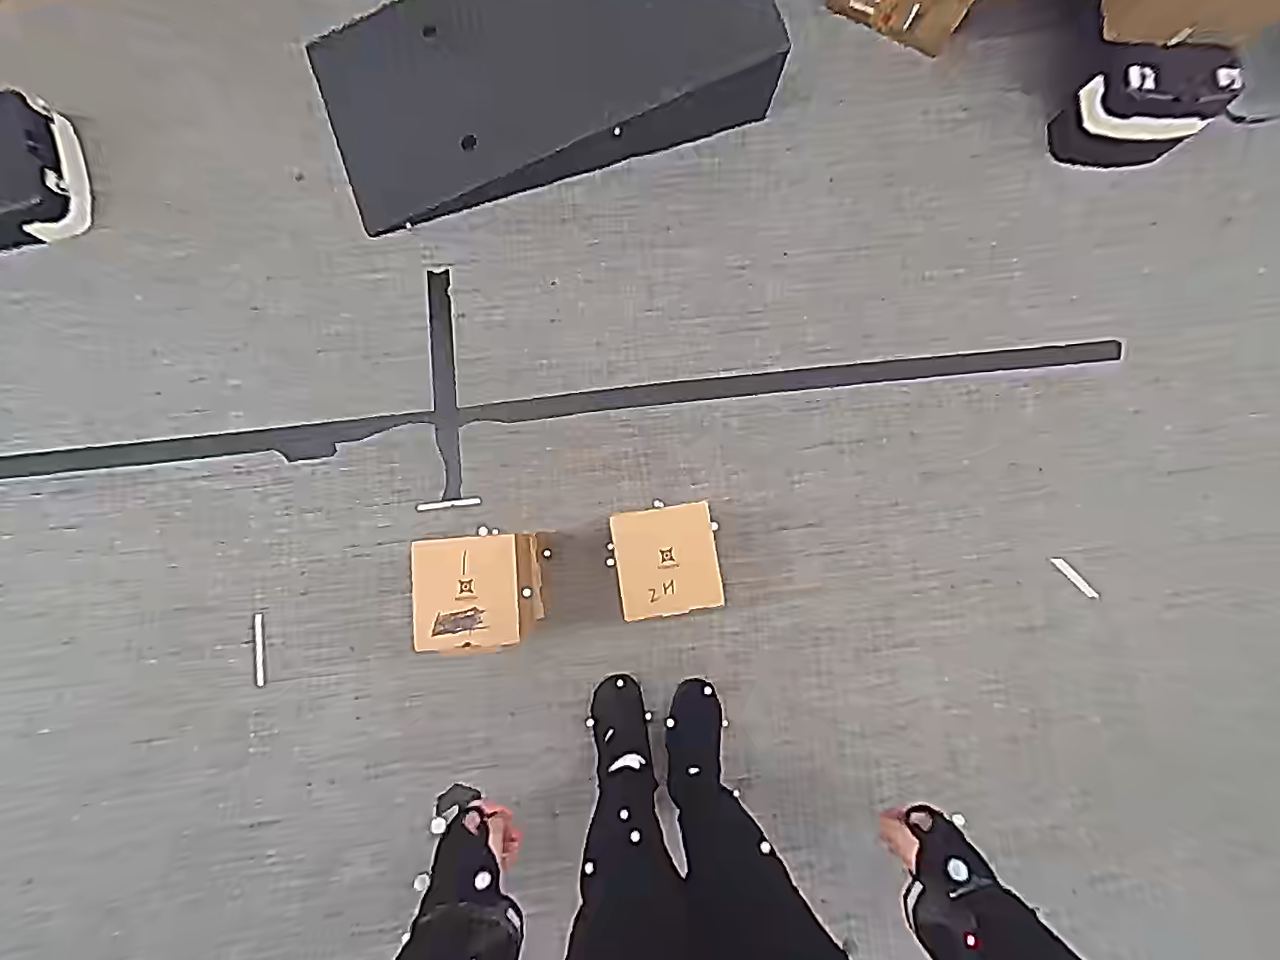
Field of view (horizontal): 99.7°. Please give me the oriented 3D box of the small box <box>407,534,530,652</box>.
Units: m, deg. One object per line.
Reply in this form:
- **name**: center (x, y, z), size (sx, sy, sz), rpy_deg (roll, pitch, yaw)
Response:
- **small box**: center (-0.285, 0.185, 0.926), size (0.168, 0.176, 0.179), rpy_deg (-4, 84, -4)

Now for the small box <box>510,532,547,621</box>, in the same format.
- **small box**: center (-0.285, 0.196, 1.090), size (0.179, 0.176, 0.168), rpy_deg (-7, 85, -4)

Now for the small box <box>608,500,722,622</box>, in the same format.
- **small box**: center (0.035, 0.137, 0.945), size (0.168, 0.176, 0.179), rpy_deg (-9, 86, -3)
